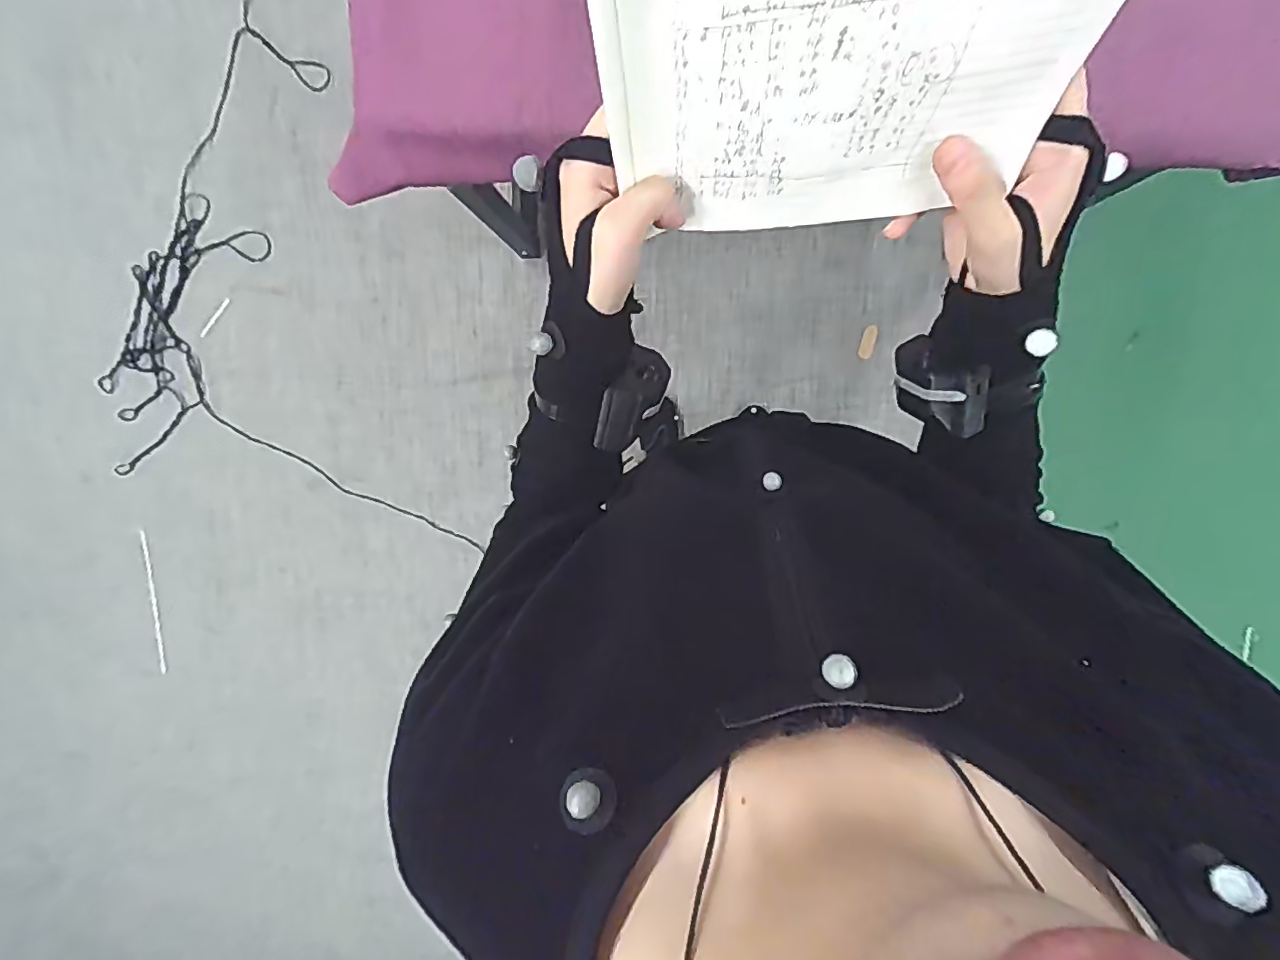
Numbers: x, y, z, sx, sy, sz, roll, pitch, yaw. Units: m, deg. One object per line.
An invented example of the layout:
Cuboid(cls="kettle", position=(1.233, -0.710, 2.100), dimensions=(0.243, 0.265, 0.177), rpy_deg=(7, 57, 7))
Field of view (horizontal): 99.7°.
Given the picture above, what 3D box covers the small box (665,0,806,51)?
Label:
Cuboid(cls="small box", position=(0.114, -0.626, 0.611), dimensions=(0.168, 0.176, 0.179), rpy_deg=(2, 98, 4))
